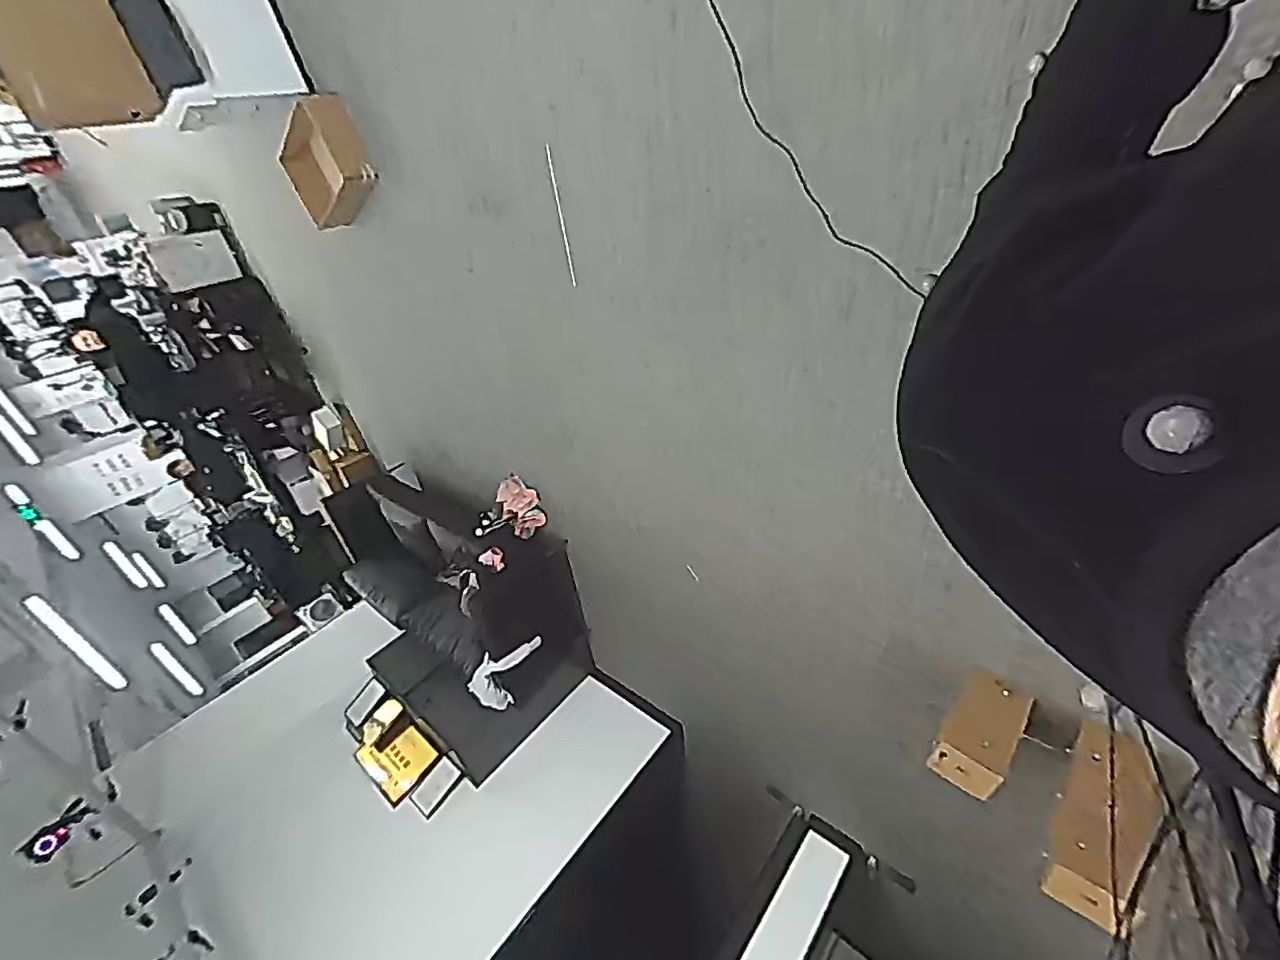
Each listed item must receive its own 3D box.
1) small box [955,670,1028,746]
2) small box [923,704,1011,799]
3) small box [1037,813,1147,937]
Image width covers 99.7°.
[{"bbox_3d":[1.140,0.769,1.777,0.168,0.176,0.179,27,135,30],"label":"small box"},{"bbox_3d":[1.022,0.840,1.686,0.179,0.176,0.168,27,135,29],"label":"small box"},{"bbox_3d":[1.161,1.002,1.392,0.179,0.176,0.168,18,131,36],"label":"small box"}]
